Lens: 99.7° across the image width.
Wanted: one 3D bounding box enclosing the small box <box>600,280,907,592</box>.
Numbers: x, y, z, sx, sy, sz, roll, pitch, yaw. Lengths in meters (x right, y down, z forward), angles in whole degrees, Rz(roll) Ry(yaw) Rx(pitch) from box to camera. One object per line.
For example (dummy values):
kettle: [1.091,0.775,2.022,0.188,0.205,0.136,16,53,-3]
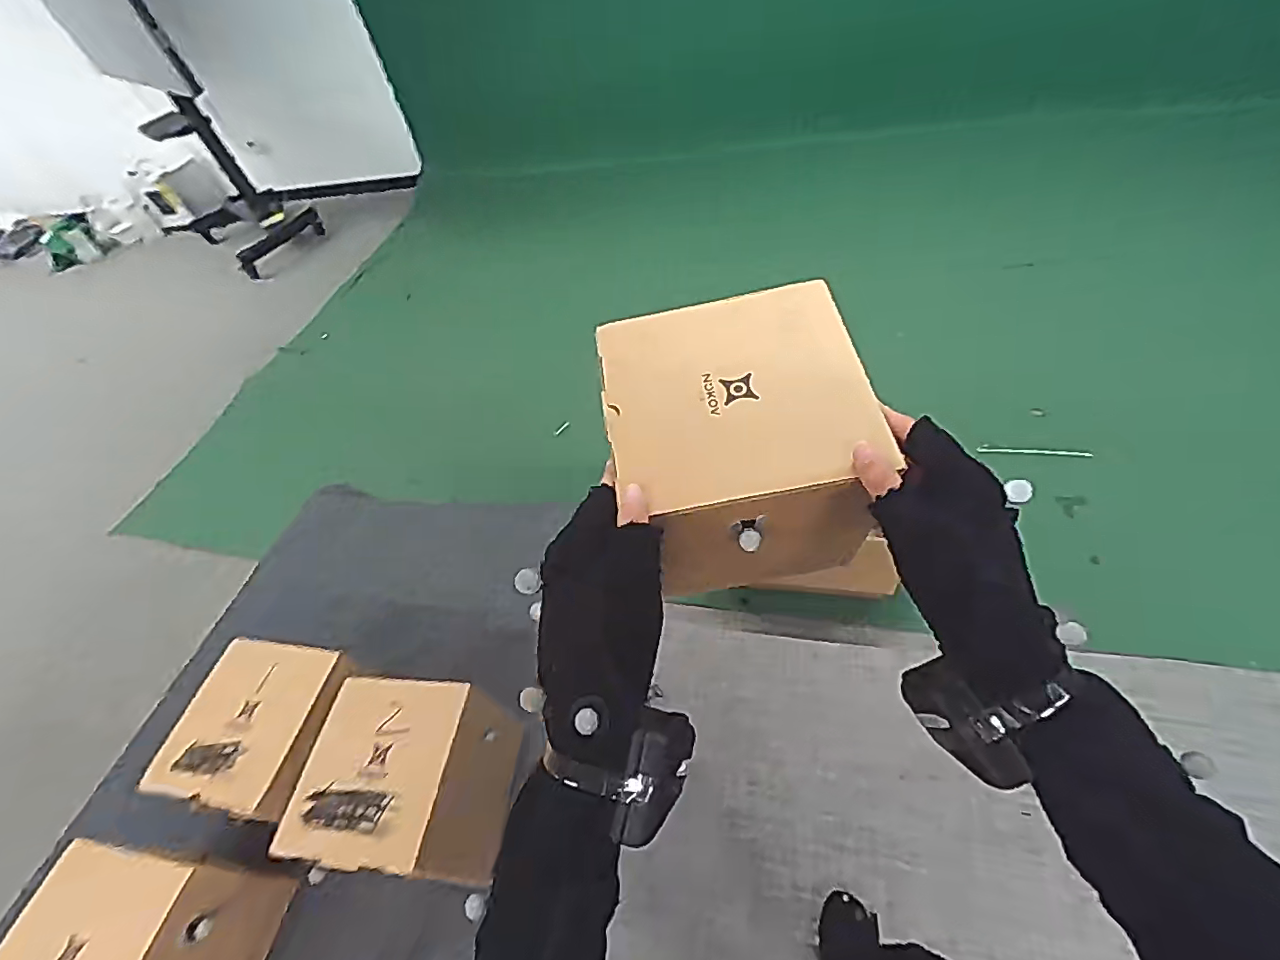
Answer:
small box: [0.076,-0.023,0.431,0.179,0.176,0.168,-11,60,5]
